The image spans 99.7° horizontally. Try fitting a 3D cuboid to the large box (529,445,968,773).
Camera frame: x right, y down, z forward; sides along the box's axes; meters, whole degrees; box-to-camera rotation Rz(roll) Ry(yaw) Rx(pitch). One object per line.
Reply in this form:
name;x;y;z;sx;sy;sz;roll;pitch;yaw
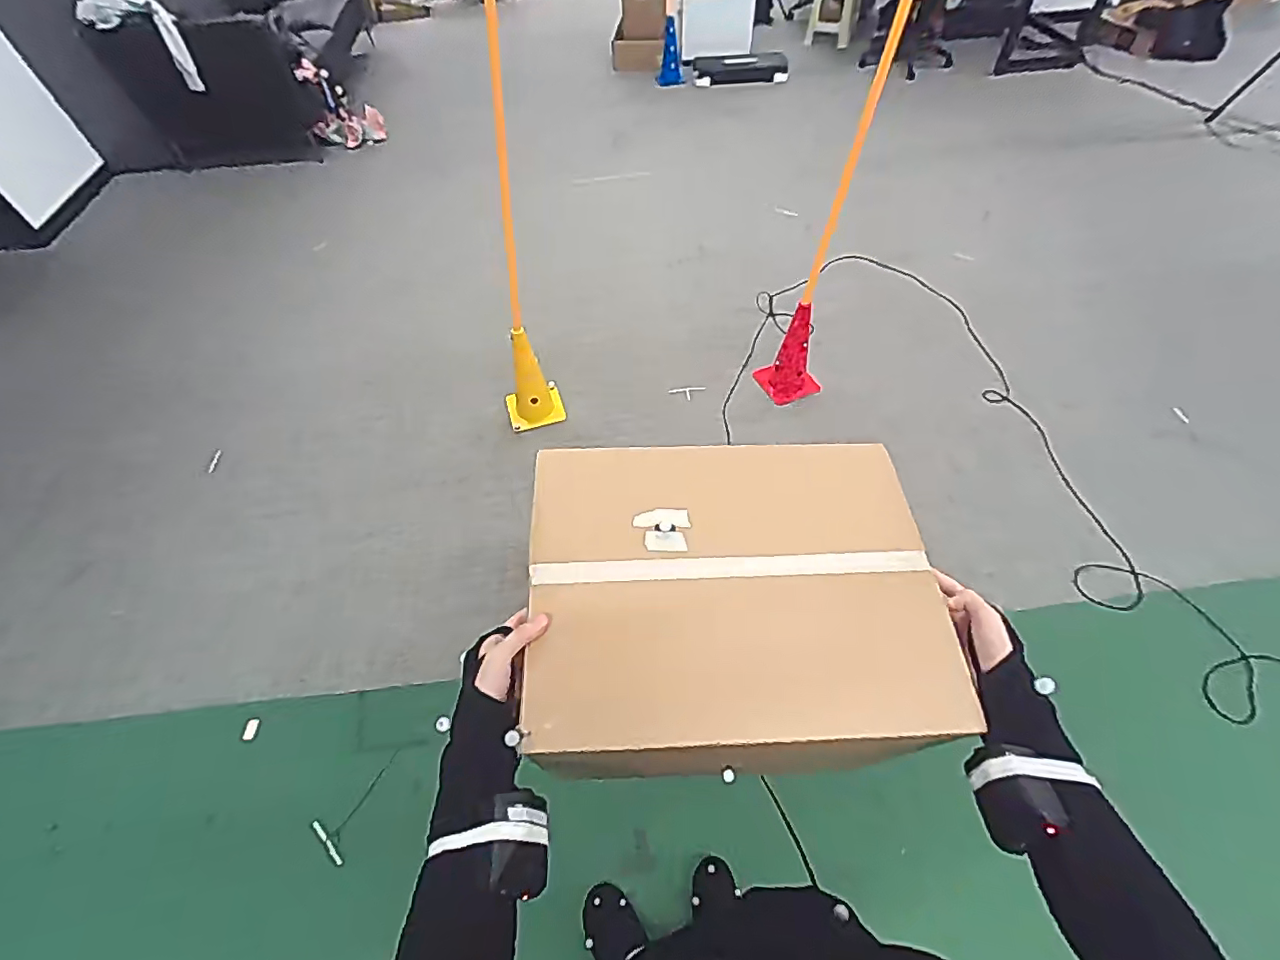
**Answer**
large box;0.092;0.176;0.682;0.408;0.320;0.320;-2;57;-2
